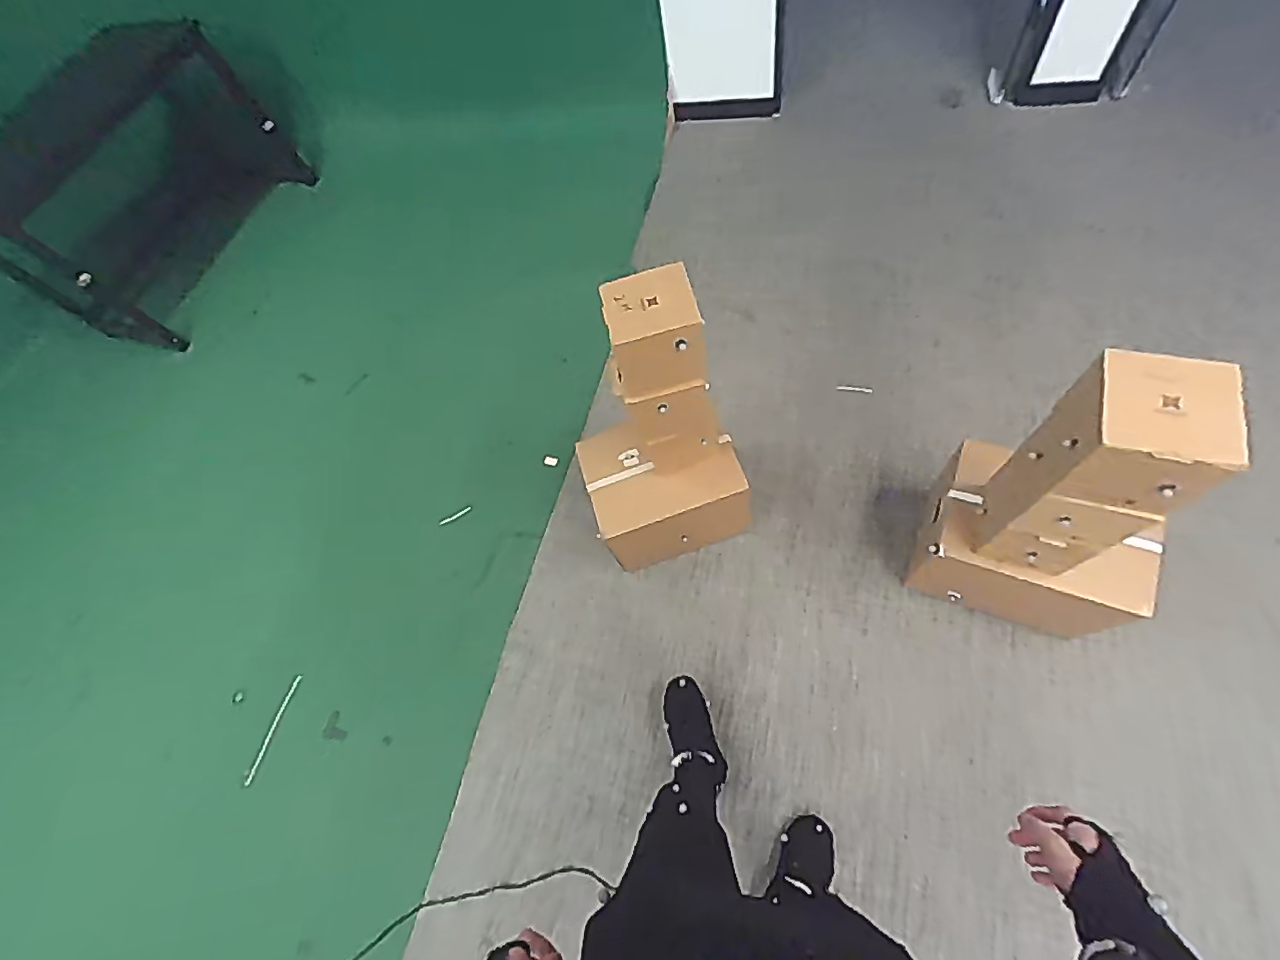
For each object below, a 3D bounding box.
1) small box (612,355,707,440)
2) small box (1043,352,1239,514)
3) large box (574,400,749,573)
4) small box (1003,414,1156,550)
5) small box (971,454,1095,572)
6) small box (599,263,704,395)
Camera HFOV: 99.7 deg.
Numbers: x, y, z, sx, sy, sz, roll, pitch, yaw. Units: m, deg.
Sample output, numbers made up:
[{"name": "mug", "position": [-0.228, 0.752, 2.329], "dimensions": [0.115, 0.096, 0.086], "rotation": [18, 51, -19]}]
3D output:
[{"name": "small box", "position": [0.048, -0.211, 1.234], "dimensions": [0.179, 0.176, 0.168], "rotation": [-14, 62, 4]}, {"name": "small box", "position": [0.756, -0.066, 0.835], "dimensions": [0.168, 0.176, 0.179], "rotation": [14, 68, 17]}, {"name": "large box", "position": [0.071, 0.029, 1.576], "dimensions": [0.408, 0.320, 0.320], "rotation": [-21, 61, 3]}, {"name": "small box", "position": [0.786, 0.008, 0.978], "dimensions": [0.168, 0.176, 0.179], "rotation": [15, 68, 18]}, {"name": "small box", "position": [0.814, 0.075, 1.123], "dimensions": [0.168, 0.176, 0.179], "rotation": [15, 70, 18]}, {"name": "small box", "position": [0.028, -0.298, 1.094], "dimensions": [0.179, 0.176, 0.168], "rotation": [-14, 61, 5]}]
